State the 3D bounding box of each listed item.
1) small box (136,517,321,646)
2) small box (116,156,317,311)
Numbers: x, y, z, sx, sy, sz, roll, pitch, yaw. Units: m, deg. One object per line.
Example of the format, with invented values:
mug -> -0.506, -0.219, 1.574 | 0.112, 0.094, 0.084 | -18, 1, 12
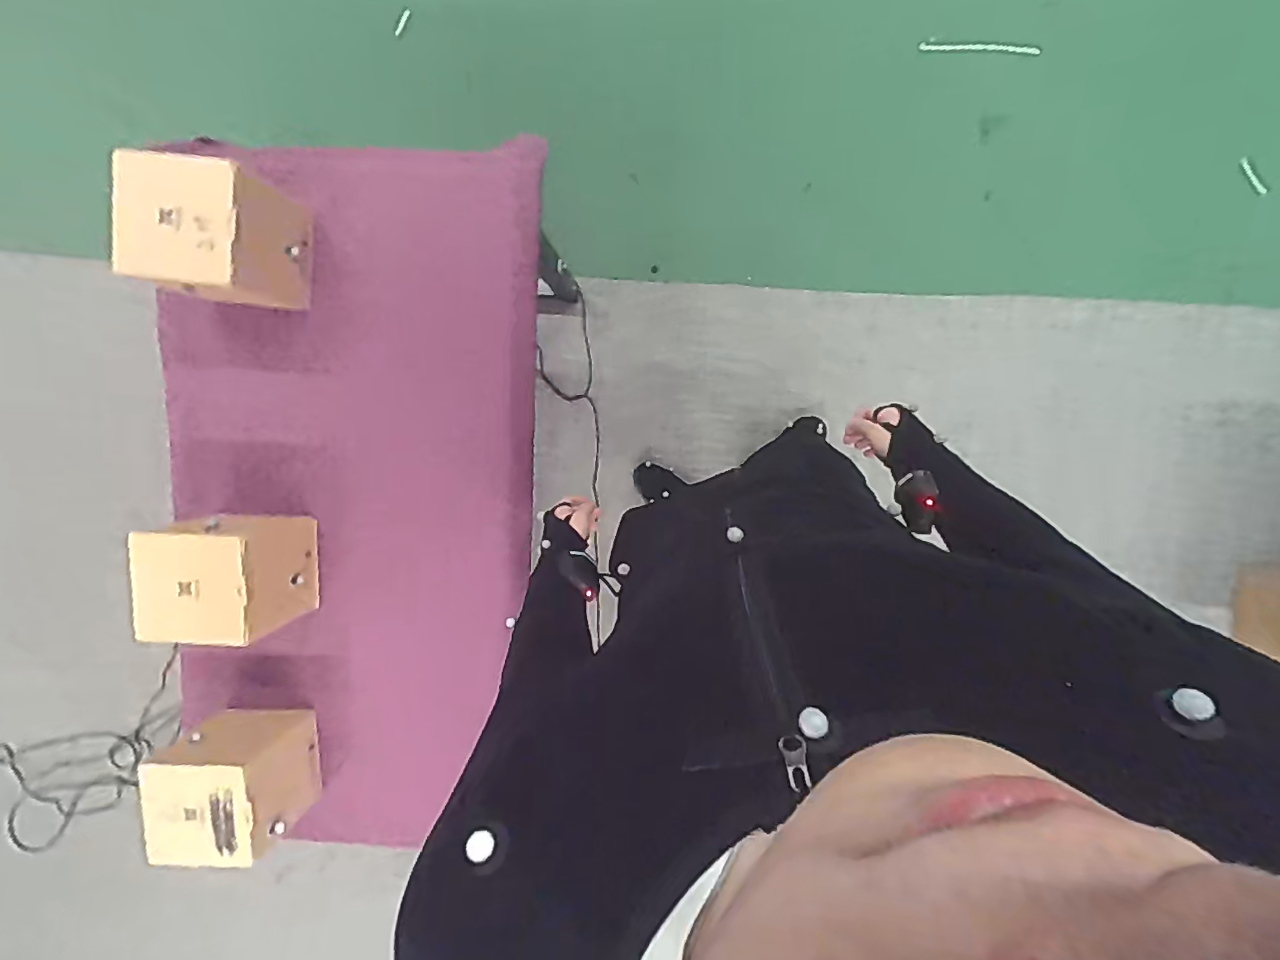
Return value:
small box -> -0.655, 0.155, 0.878 | 0.179, 0.176, 0.168 | 1, 95, 3
small box -> -0.633, -0.362, 0.823 | 0.179, 0.176, 0.168 | 7, 97, 3
